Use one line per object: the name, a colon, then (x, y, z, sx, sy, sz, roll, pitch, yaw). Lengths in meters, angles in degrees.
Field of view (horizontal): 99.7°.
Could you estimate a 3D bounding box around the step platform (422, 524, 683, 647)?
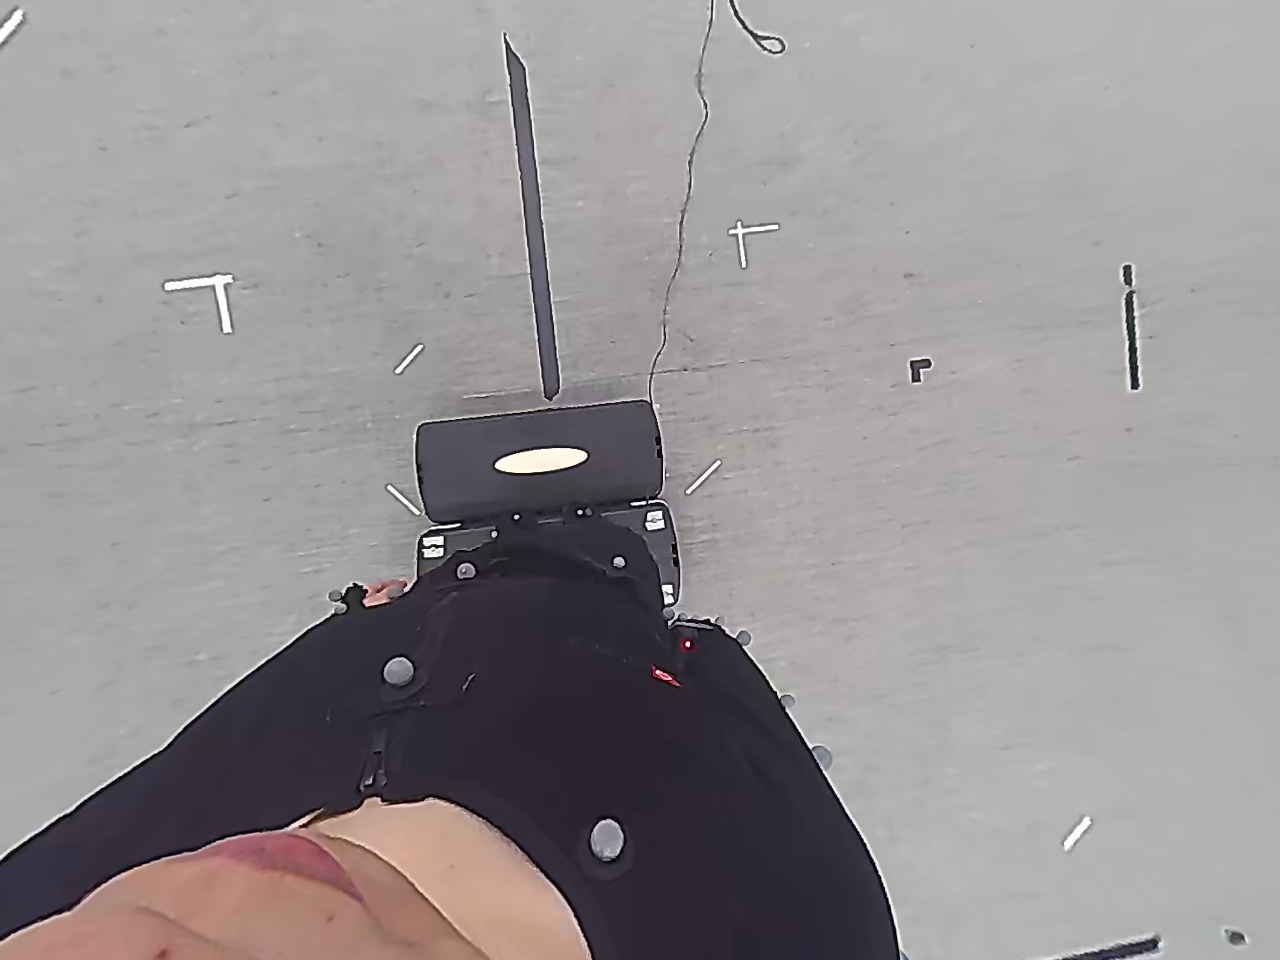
step platform: (-0.224, 0.278, 1.465, 0.684, 0.204, 0.286, -2, 89, -4)
